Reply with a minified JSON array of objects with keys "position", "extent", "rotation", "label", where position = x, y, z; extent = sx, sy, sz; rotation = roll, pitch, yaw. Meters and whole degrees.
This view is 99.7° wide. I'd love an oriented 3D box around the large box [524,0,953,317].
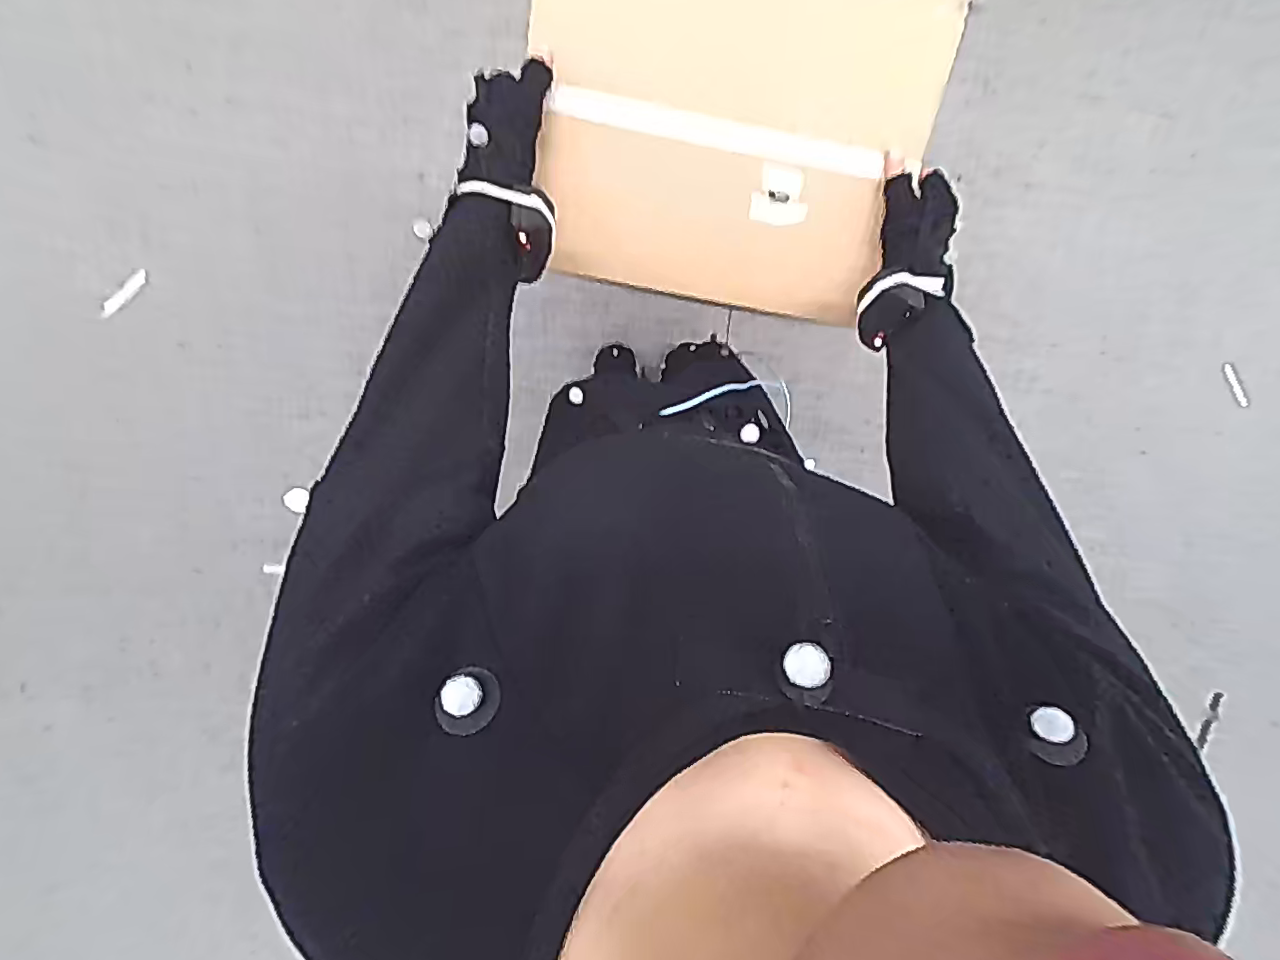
[{"position":[0.084,-0.406,0.702],"extent":[0.408,0.320,0.320],"rotation":[9,109,-5],"label":"large box"}]
